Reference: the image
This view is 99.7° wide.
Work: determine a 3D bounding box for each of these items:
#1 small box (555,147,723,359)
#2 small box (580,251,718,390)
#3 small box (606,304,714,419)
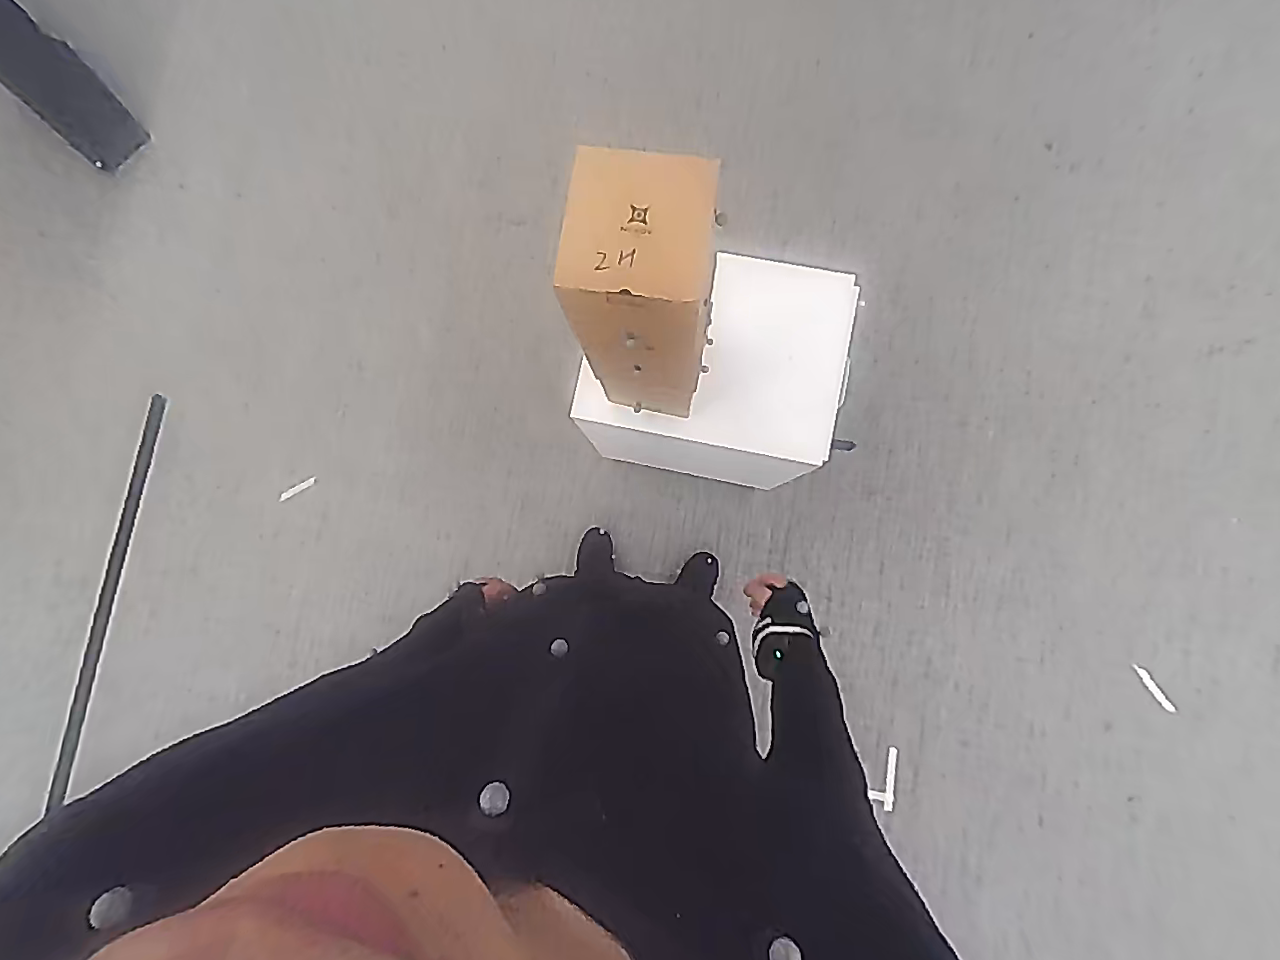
[{"bbox_3d":[0.004,-0.271,0.677,0.168,0.176,0.179,8,83,5],"label":"small box"},{"bbox_3d":[0.018,-0.246,0.839,0.179,0.176,0.168,8,83,5],"label":"small box"},{"bbox_3d":[0.032,-0.227,1.001,0.168,0.176,0.179,12,84,4],"label":"small box"}]
